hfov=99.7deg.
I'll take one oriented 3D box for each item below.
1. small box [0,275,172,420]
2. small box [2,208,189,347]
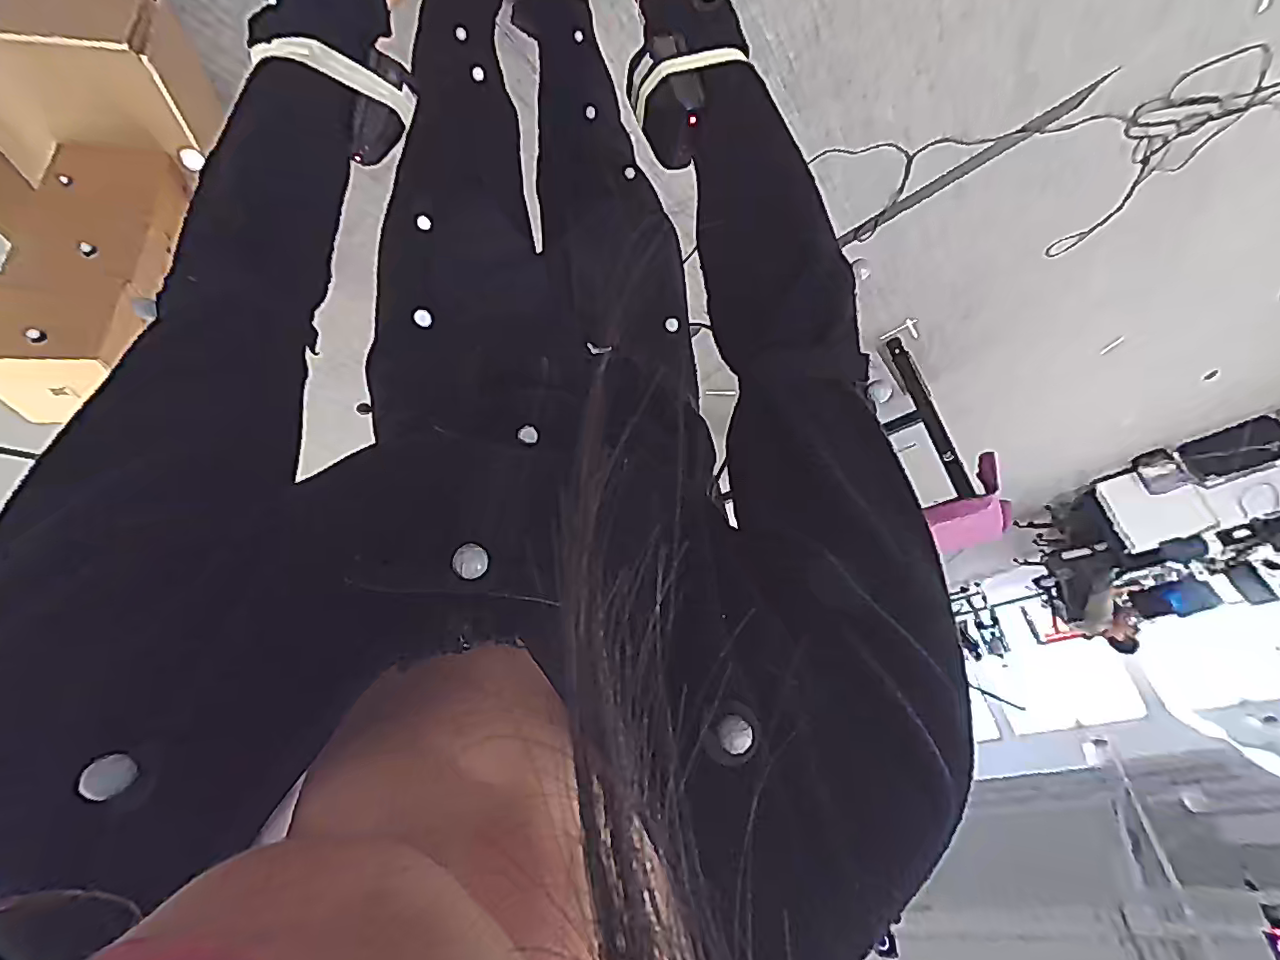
[{"bbox_3d":[-0.920,-0.214,0.883,0.179,0.176,0.168,-3,153,-16],"label":"small box"},{"bbox_3d":[-0.942,-0.356,0.961,0.179,0.176,0.168,-3,153,-17],"label":"small box"}]
